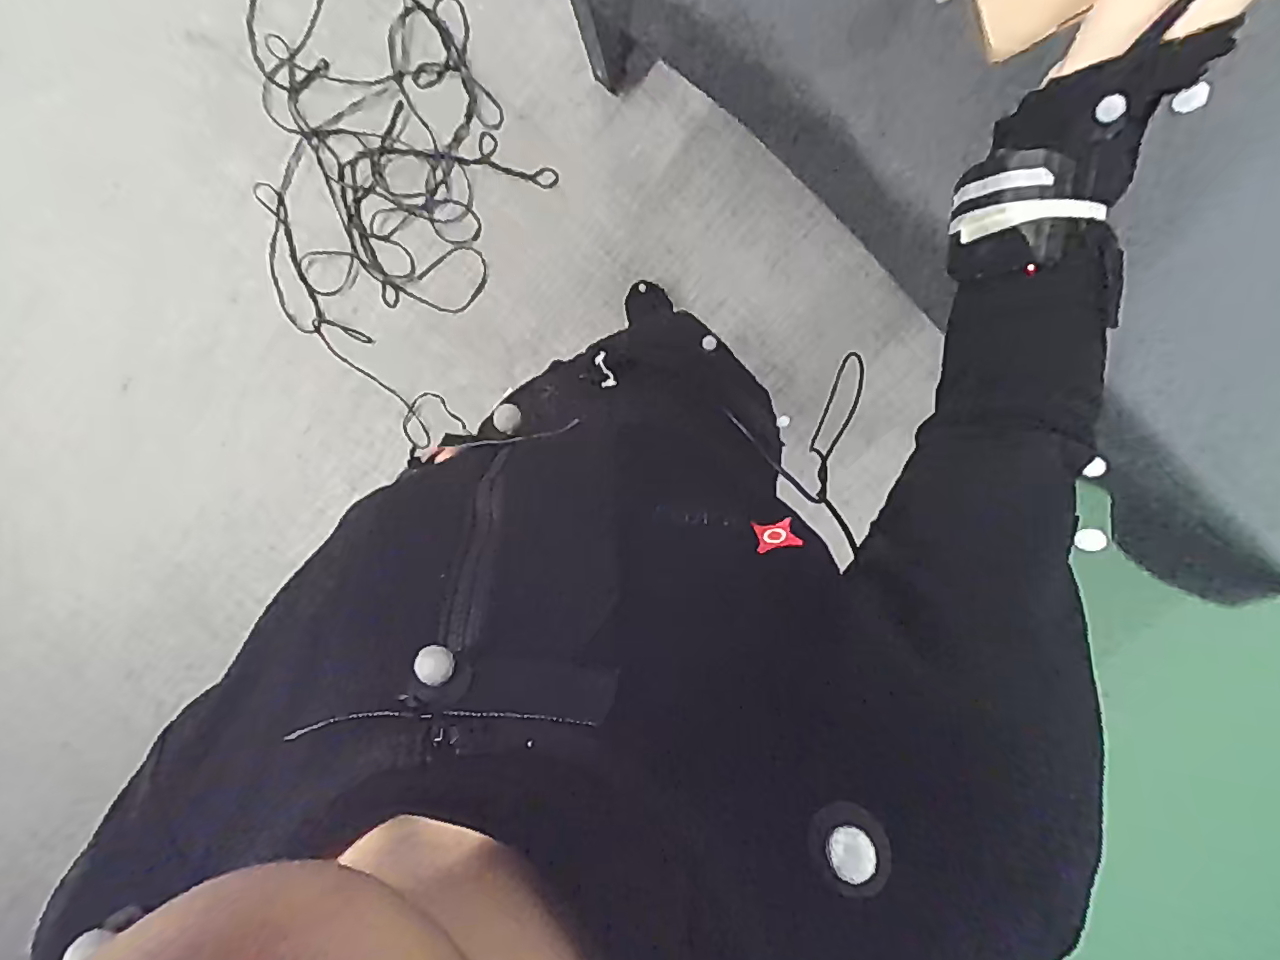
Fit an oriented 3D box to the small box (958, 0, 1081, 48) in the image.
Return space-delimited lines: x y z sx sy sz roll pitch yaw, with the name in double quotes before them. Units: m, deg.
"small box" 0.254 -0.395 0.299 0.168 0.176 0.179 -19 121 35
